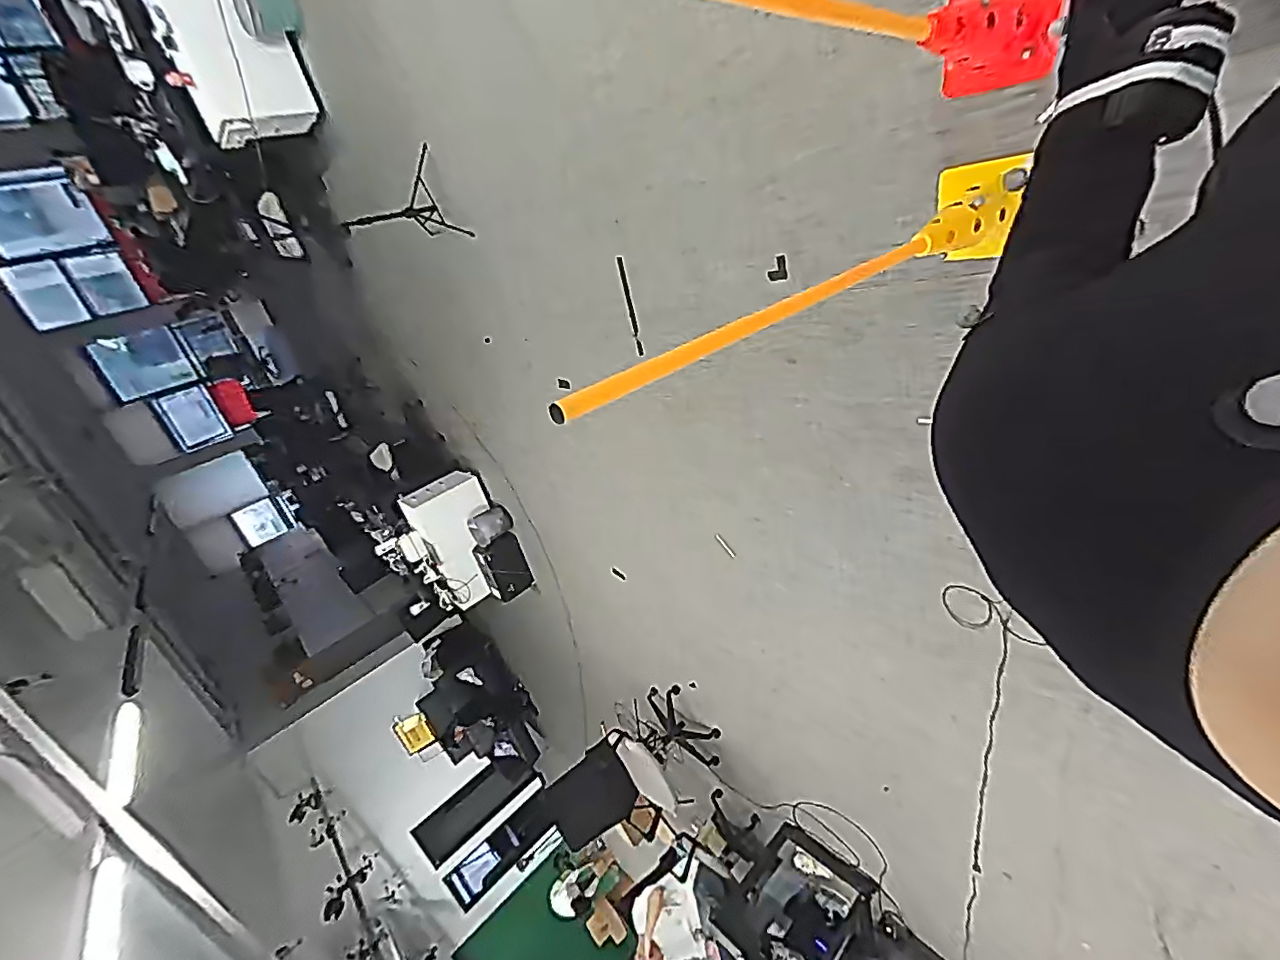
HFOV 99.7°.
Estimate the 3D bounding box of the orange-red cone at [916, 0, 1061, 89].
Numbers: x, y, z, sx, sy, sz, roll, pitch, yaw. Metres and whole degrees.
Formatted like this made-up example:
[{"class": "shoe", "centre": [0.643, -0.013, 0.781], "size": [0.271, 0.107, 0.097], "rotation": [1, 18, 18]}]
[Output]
[{"class": "orange-red cone", "centre": [0.583, -0.819, 0.961], "size": [0.198, 0.360, 0.199], "rotation": [21, 132, 42]}]
